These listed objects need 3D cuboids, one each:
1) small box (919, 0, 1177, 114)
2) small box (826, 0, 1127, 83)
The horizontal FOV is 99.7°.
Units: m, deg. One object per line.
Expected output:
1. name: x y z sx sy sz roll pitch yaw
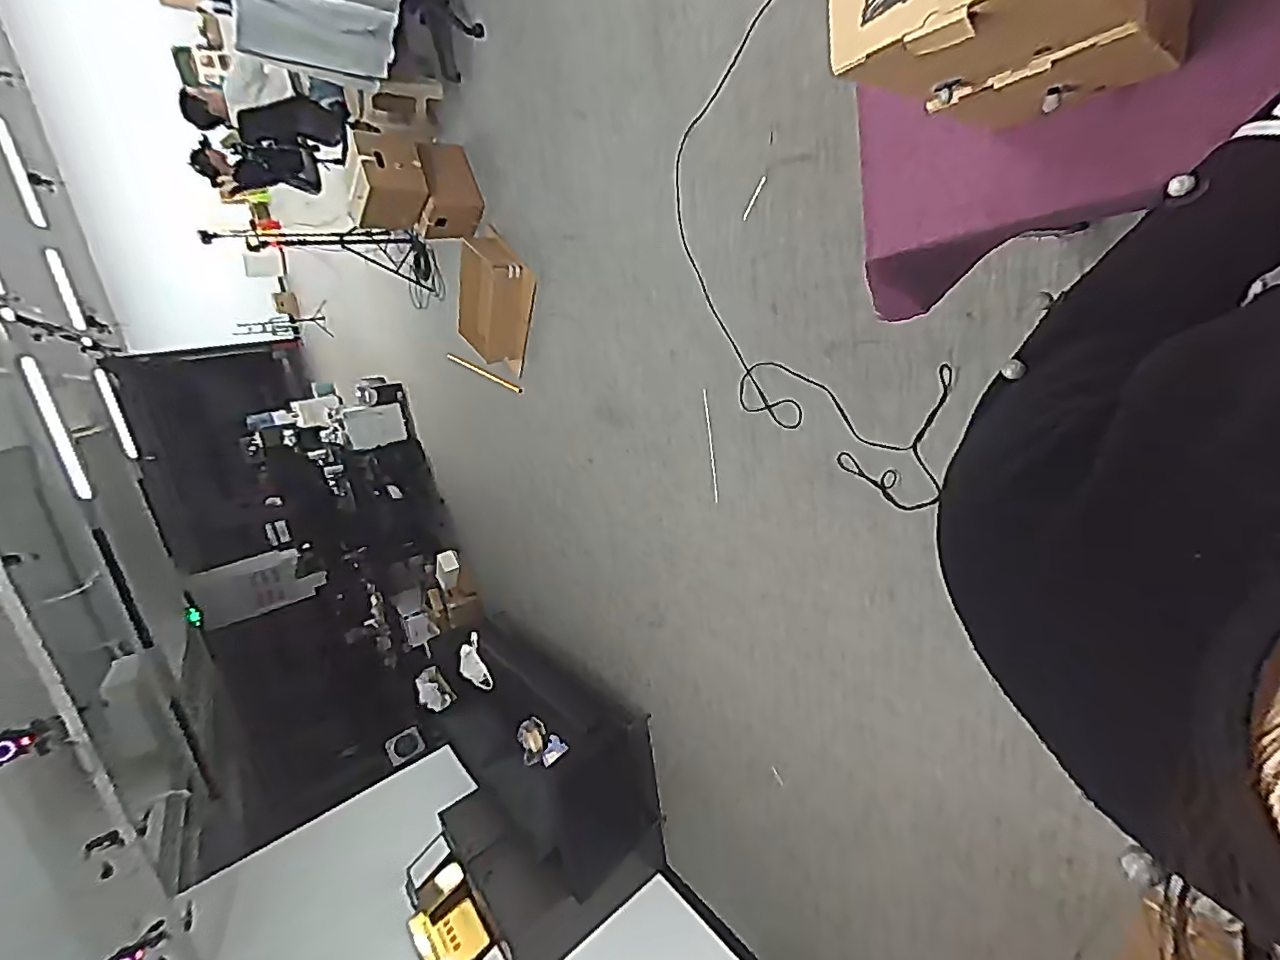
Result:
1. small box: 0.386 -0.471 0.511 0.168 0.176 0.179 13 116 49
2. small box: 0.261 -0.433 0.410 0.168 0.176 0.179 14 116 49
